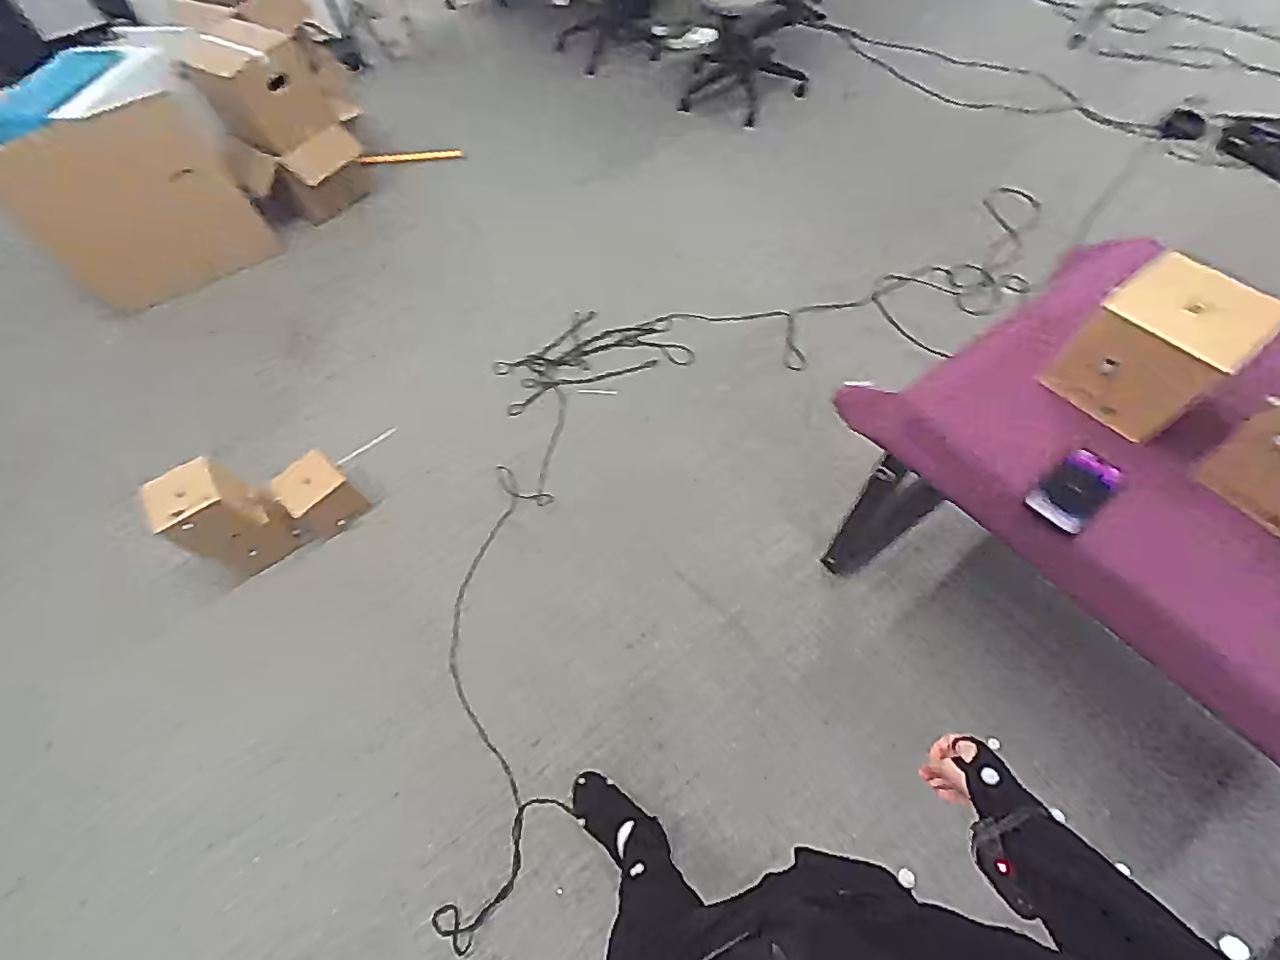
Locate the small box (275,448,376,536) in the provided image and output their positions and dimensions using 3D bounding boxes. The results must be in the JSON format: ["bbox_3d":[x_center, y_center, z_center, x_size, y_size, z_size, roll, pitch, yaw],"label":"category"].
[{"bbox_3d":[-0.952,0.042,1.647,0.179,0.176,0.168,39,71,23],"label":"small box"}]

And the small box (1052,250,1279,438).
[{"bbox_3d":[0.762,-0.195,0.797,0.179,0.176,0.168,-35,62,-15],"label":"small box"}]

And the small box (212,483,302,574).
[{"bbox_3d":[-1.140,0.148,1.601,0.179,0.176,0.168,-35,62,-14],"label":"small box"}]

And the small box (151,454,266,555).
[{"bbox_3d":[-1.157,0.070,1.458,0.168,0.176,0.179,-33,62,-13],"label":"small box"}]
